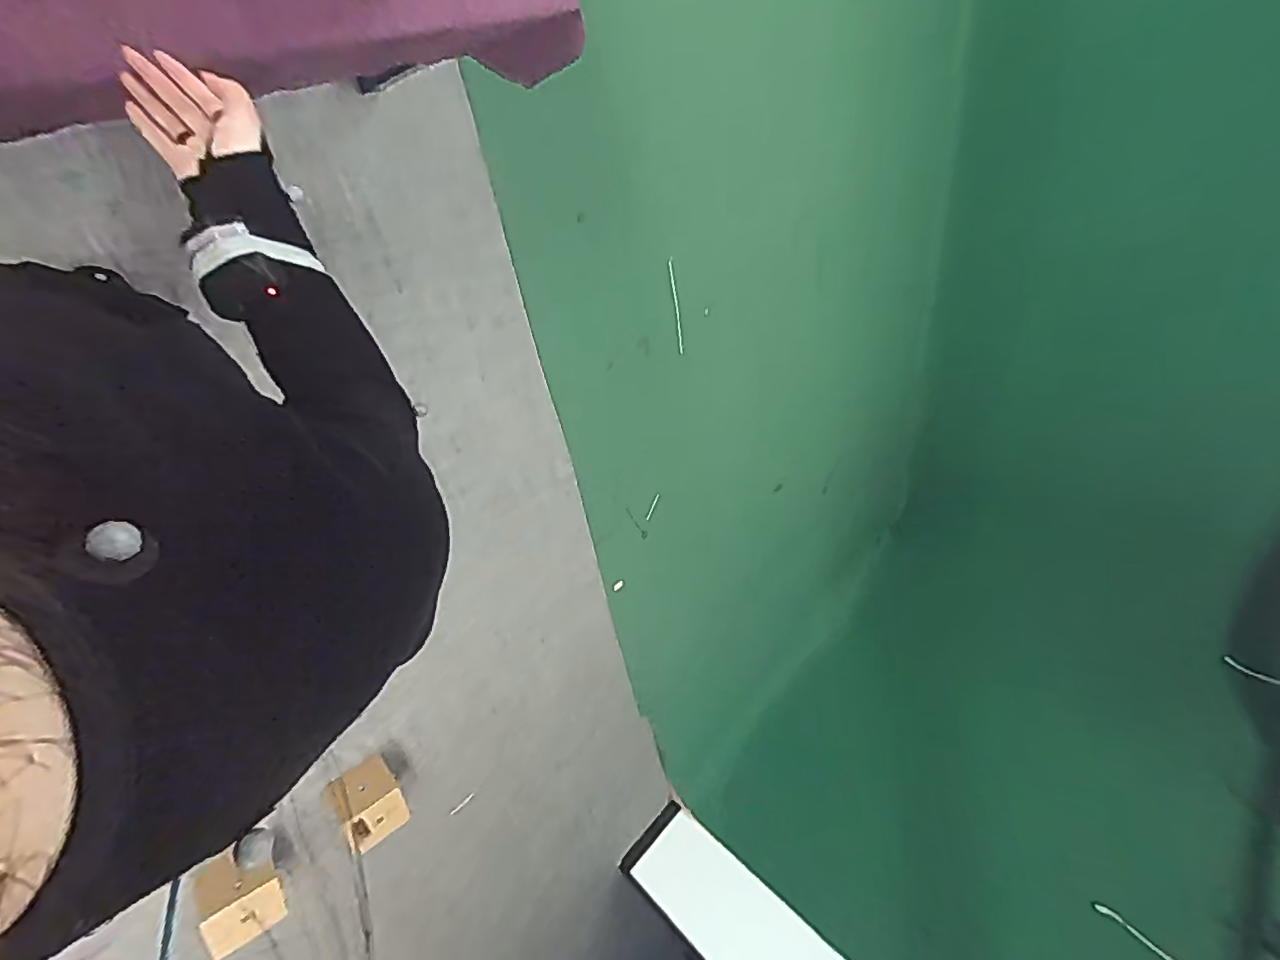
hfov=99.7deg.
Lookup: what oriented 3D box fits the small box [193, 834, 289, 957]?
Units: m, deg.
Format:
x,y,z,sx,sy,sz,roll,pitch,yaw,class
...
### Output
x,y,z,sx,sy,sz,roll,pitch,yaw,class
-1.119,1.153,1.517,0.179,0.176,0.168,-17,119,-40,small box
